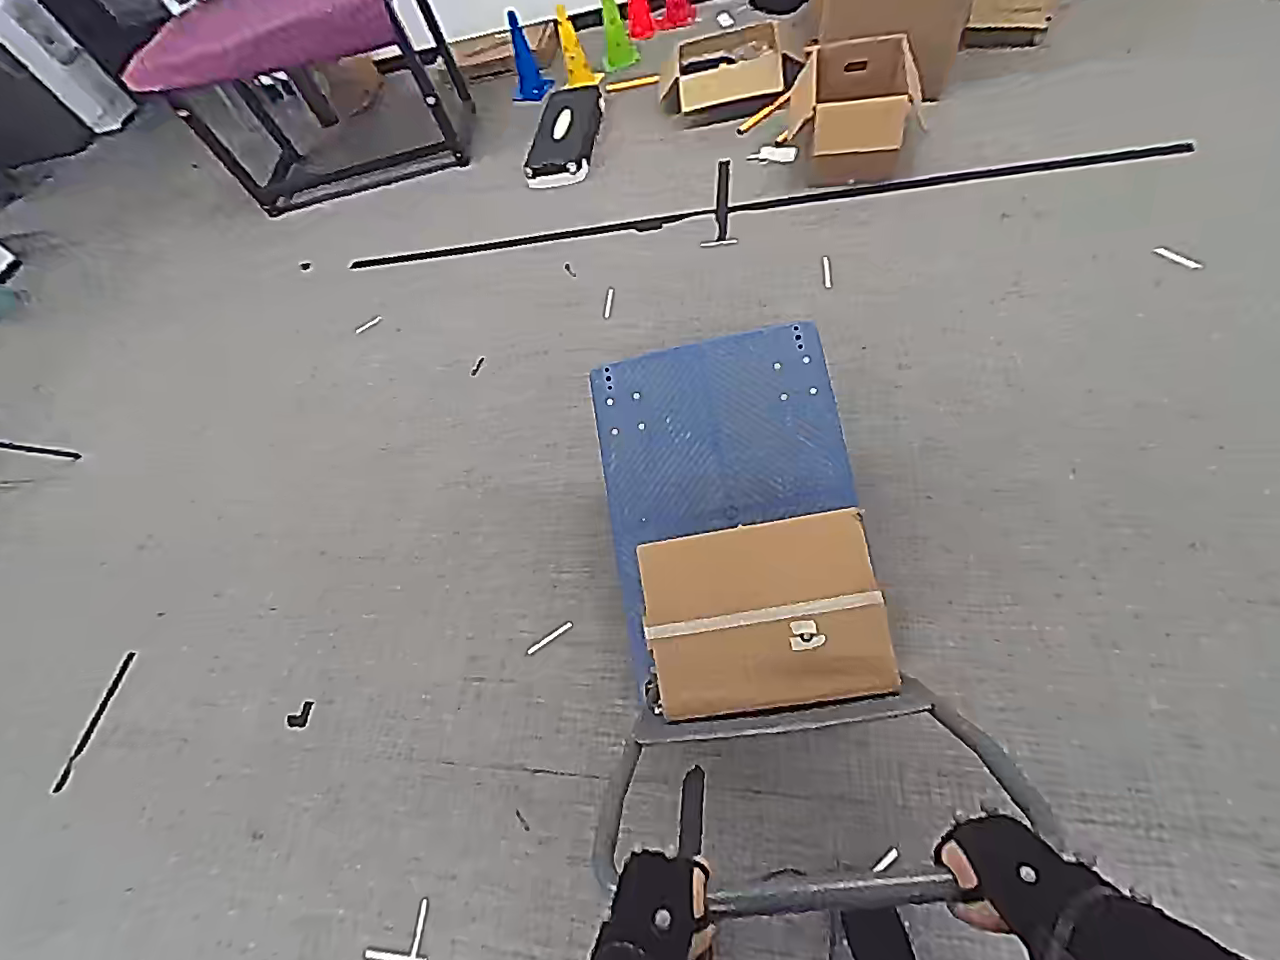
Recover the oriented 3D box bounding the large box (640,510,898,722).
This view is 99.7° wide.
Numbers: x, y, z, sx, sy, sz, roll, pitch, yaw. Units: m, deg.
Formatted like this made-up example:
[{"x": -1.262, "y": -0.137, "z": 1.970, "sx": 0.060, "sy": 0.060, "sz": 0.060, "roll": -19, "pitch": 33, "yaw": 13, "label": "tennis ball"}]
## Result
[{"x": 0.239, "y": 0.266, "z": 1.108, "sx": 0.408, "sy": 0.320, "sz": 0.320, "roll": -12, "pitch": 80, "yaw": 6, "label": "large box"}]
